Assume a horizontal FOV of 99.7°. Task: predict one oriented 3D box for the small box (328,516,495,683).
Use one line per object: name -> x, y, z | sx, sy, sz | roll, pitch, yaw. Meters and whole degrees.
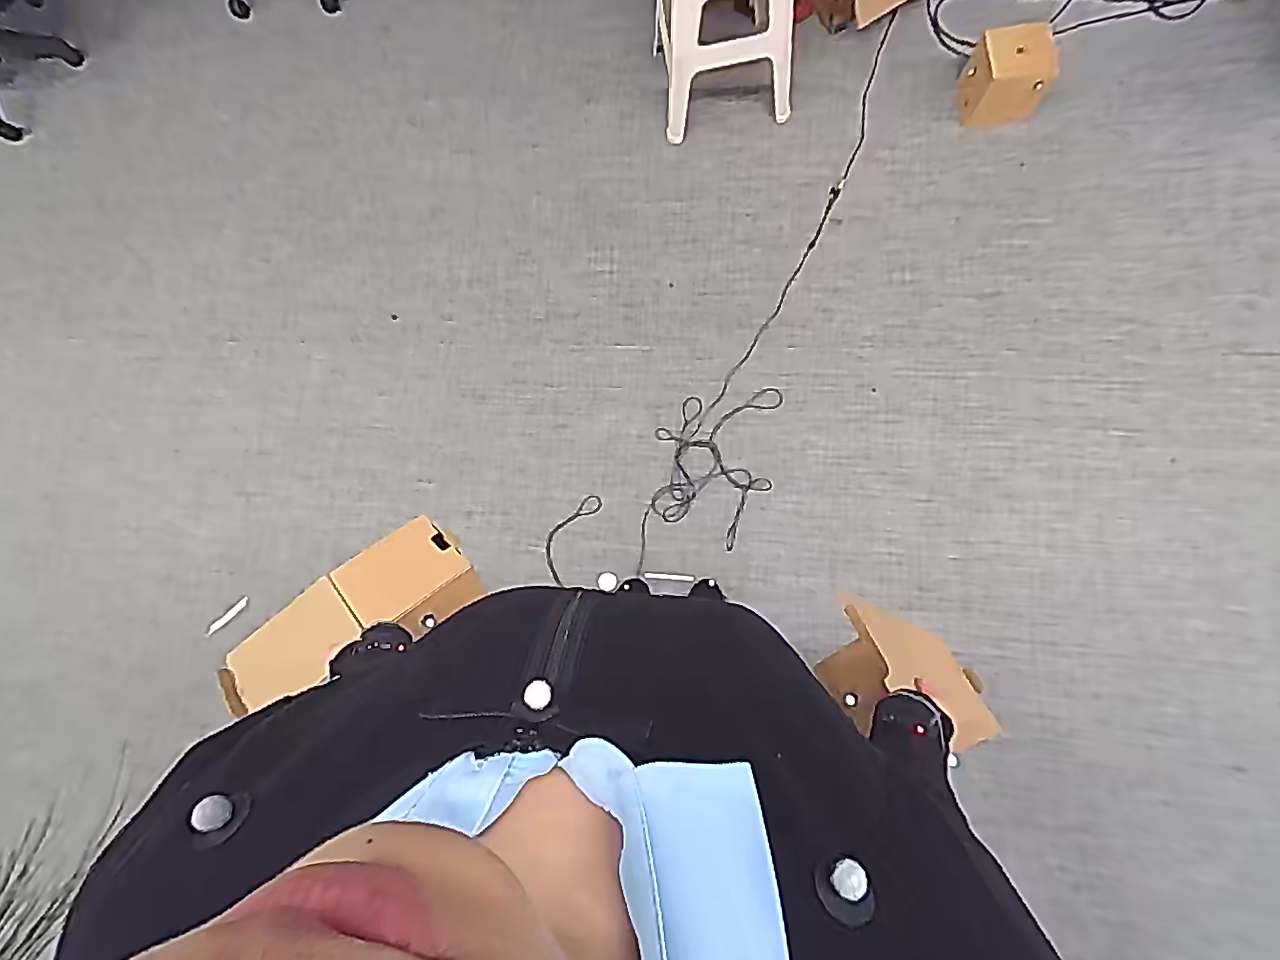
small box -> -0.372, 0.200, 0.904 | 0.179, 0.176, 0.168 | -36, 51, -27
